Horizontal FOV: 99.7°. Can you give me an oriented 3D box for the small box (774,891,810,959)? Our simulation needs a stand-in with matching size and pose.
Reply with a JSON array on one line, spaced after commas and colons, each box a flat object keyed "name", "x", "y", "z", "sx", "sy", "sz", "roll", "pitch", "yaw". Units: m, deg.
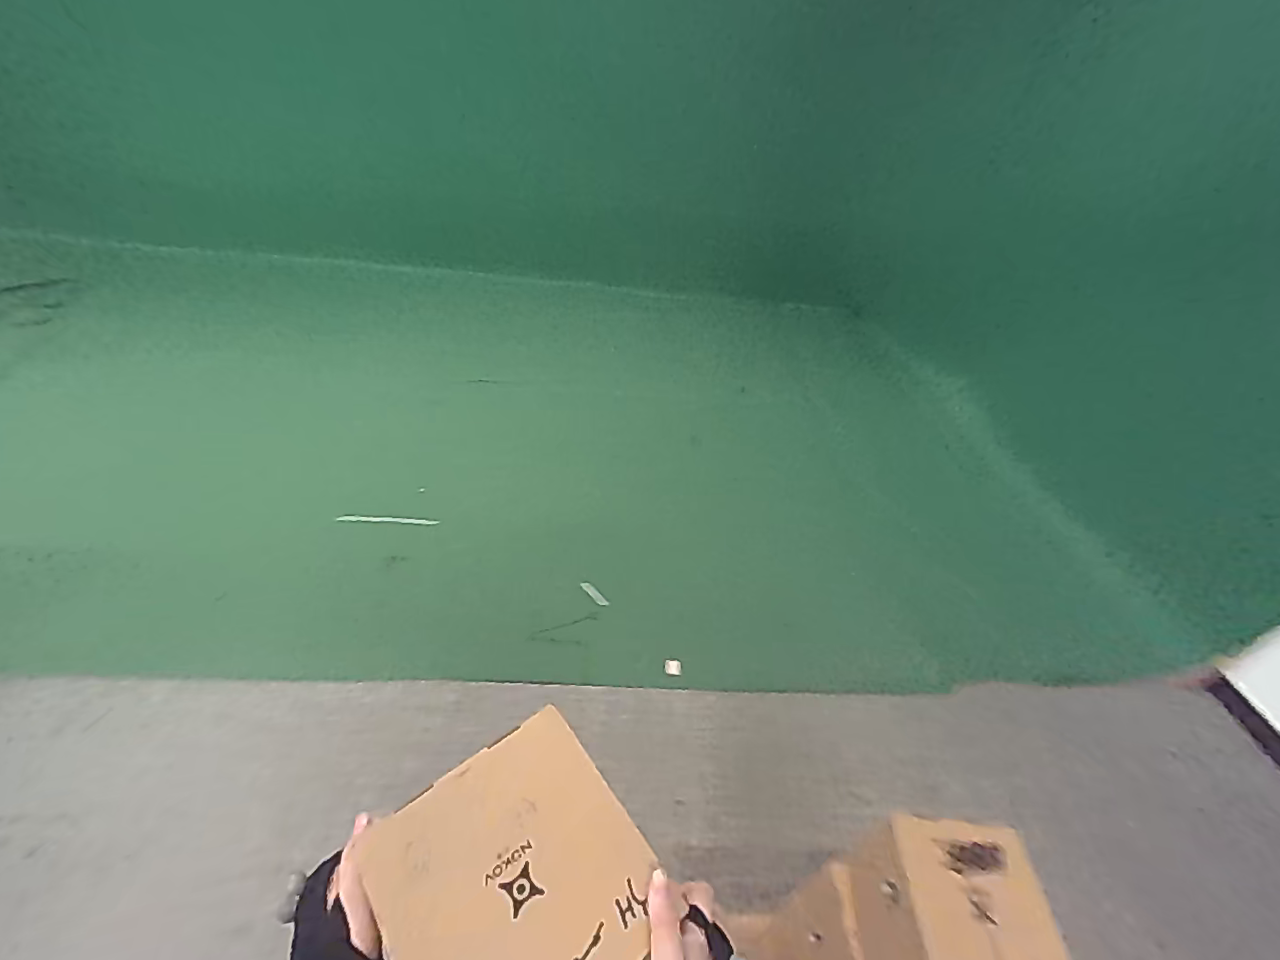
[{"name": "small box", "x": 0.335, "y": 0.799, "z": 0.884, "sx": 0.168, "sy": 0.176, "sz": 0.179, "roll": 5, "pitch": 40, "yaw": -7}]

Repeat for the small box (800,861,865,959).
[{"name": "small box", "x": 0.355, "y": 0.673, "z": 0.781, "sx": 0.179, "sy": 0.176, "sz": 0.168, "roll": 5, "pitch": 41, "yaw": -5}]

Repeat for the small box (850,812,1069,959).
[{"name": "small box", "x": 0.384, "y": 0.550, "z": 0.676, "sx": 0.168, "sy": 0.176, "sz": 0.179, "roll": 8, "pitch": 41, "yaw": -1}]
